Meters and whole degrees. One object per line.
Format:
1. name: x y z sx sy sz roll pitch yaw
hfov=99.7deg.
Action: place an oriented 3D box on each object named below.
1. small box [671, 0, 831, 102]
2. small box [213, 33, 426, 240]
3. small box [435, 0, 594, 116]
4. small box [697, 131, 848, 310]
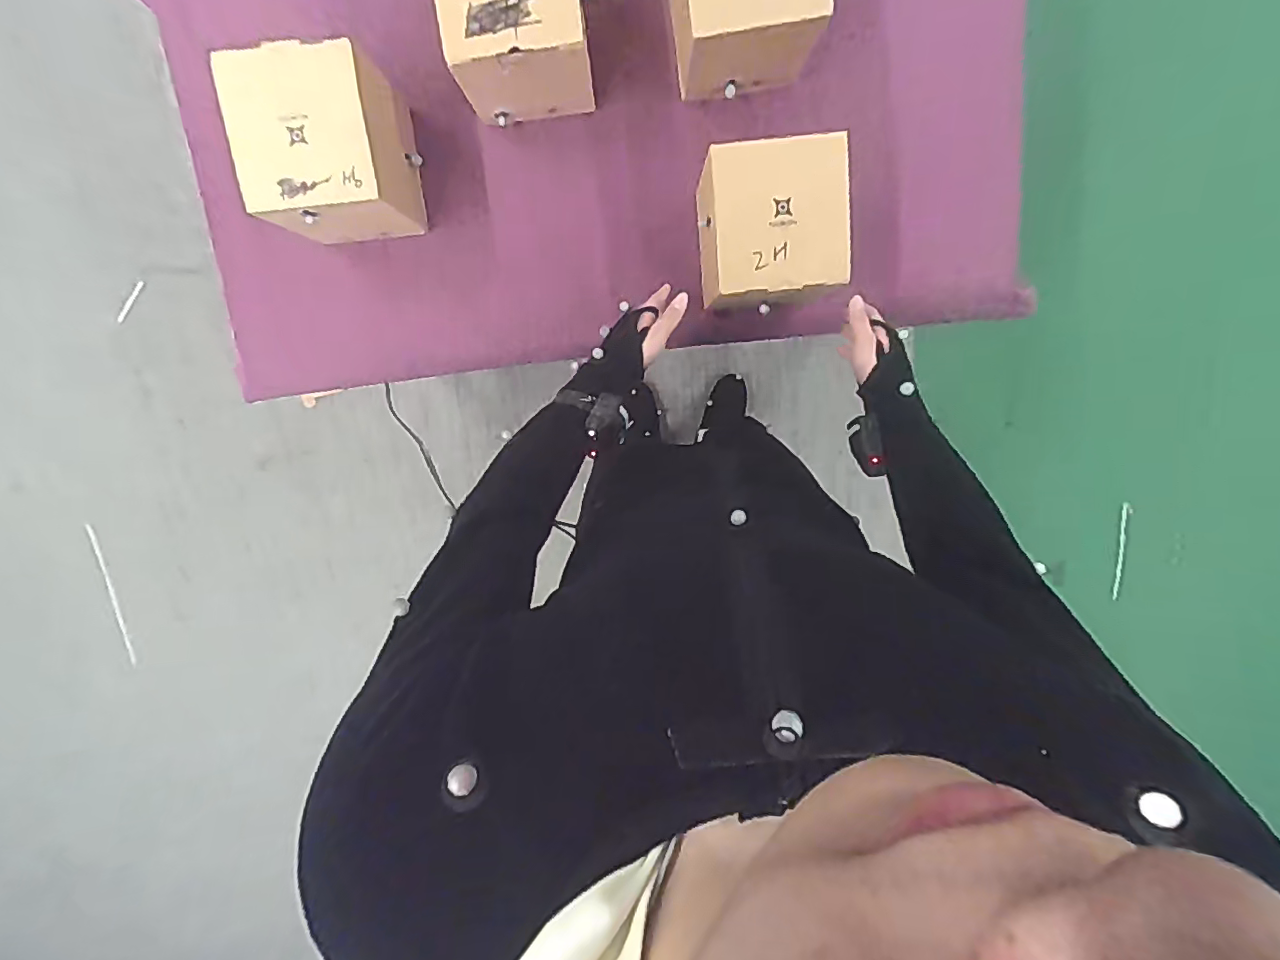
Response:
1. small box: 0.129 -0.622 0.685 0.168 0.176 0.179 -7 102 2
2. small box: -0.403 -0.436 0.714 0.168 0.176 0.179 -5 101 2
3. small box: -0.154 -0.593 0.687 0.168 0.176 0.179 -7 101 1
4. small box: 0.171 -0.339 0.737 0.168 0.176 0.179 -4 100 1
